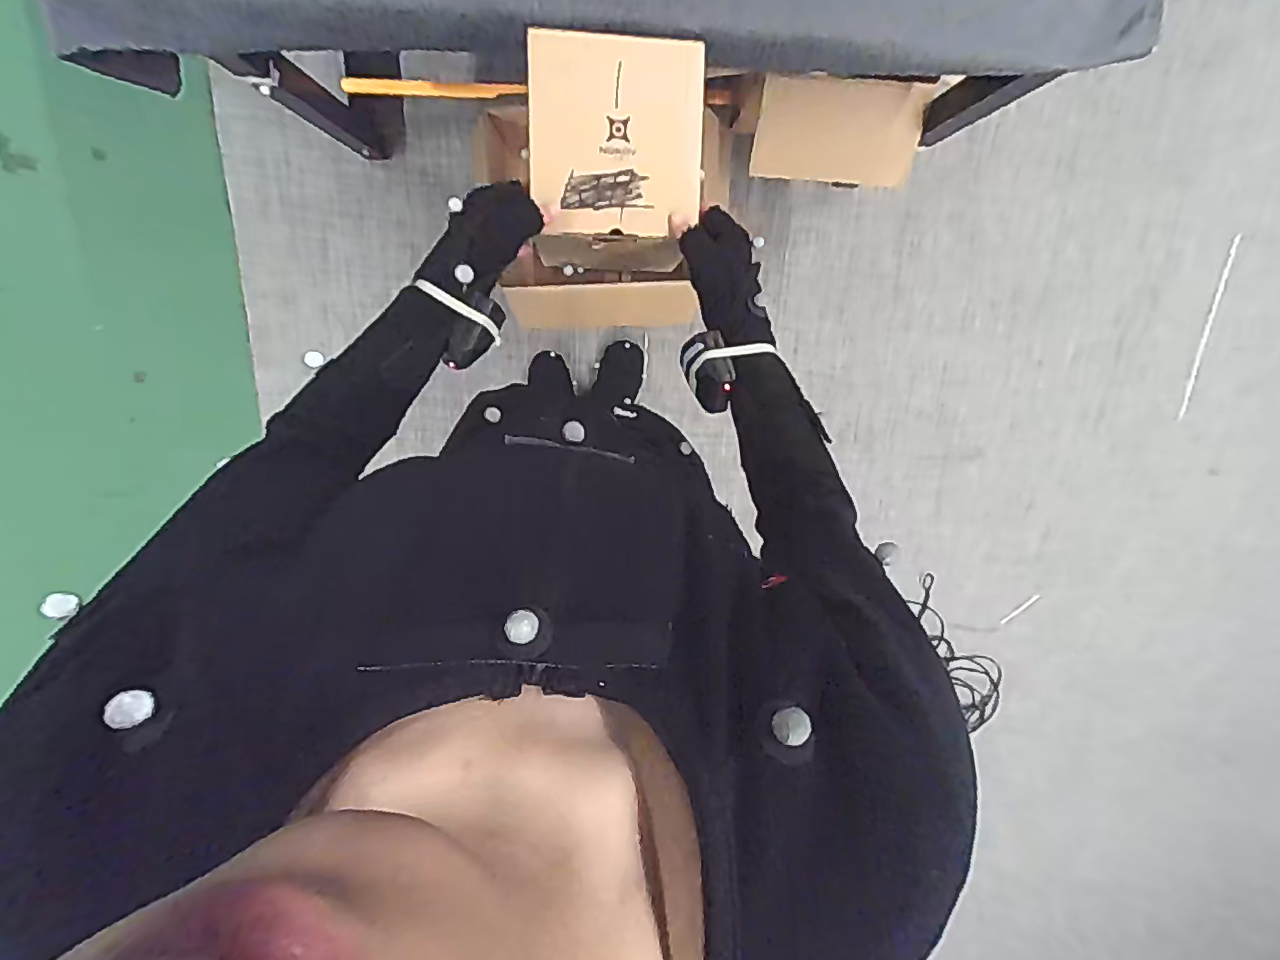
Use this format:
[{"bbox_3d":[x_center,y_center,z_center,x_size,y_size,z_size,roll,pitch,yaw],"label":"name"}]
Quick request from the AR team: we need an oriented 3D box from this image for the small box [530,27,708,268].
[{"bbox_3d":[-0.028,-0.335,0.586,0.168,0.176,0.179,0,101,-6],"label":"small box"}]
